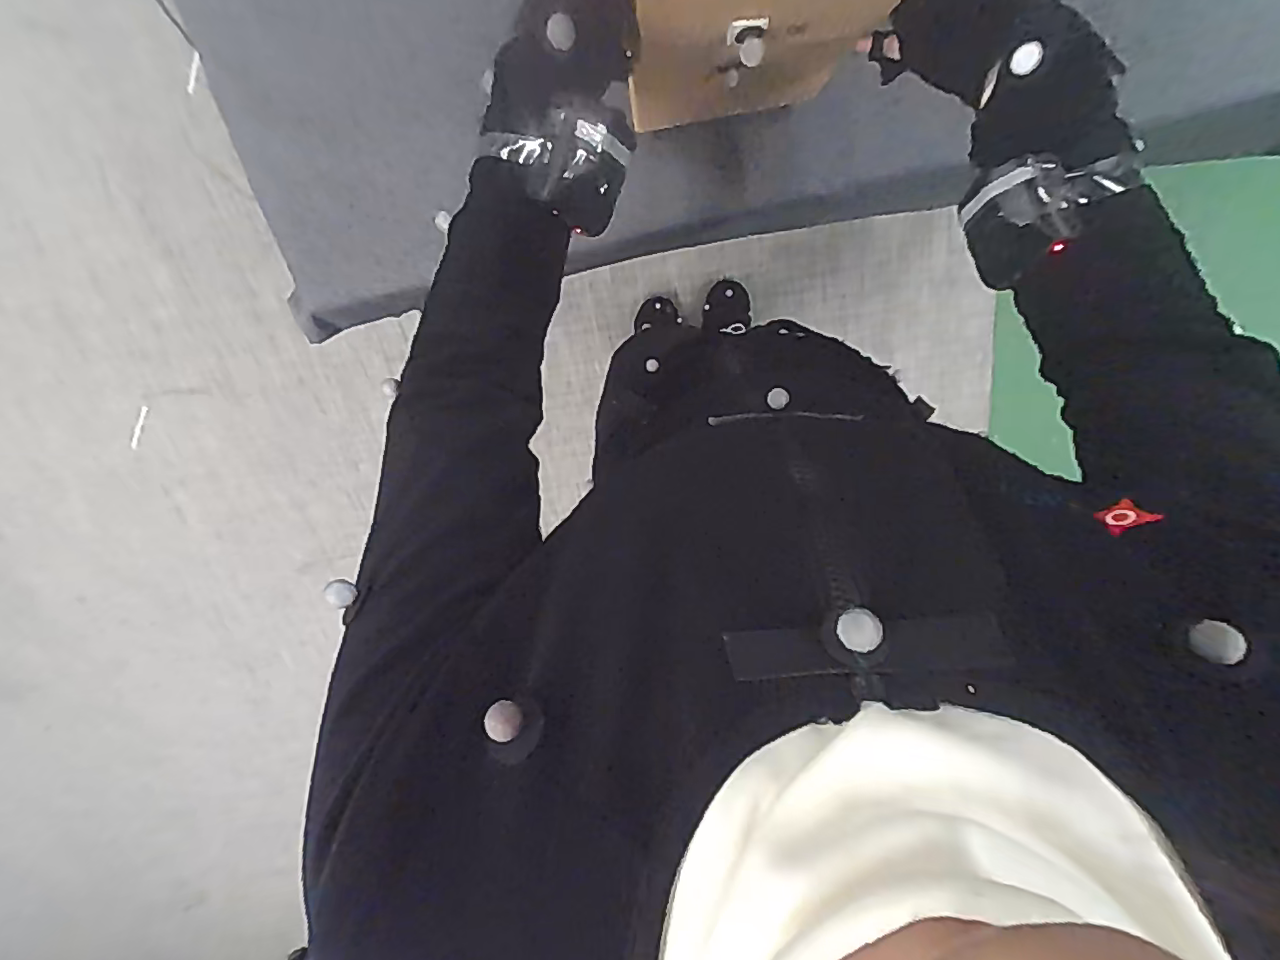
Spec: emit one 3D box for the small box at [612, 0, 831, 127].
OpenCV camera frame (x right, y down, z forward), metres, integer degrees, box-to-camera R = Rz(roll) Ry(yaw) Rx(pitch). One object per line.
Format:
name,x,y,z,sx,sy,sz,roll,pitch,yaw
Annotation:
small box,0.063,-0.407,0.430,0.179,0.176,0.168,-8,108,3

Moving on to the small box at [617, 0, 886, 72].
small box,0.061,-0.353,0.277,0.168,0.176,0.179,-6,108,4
